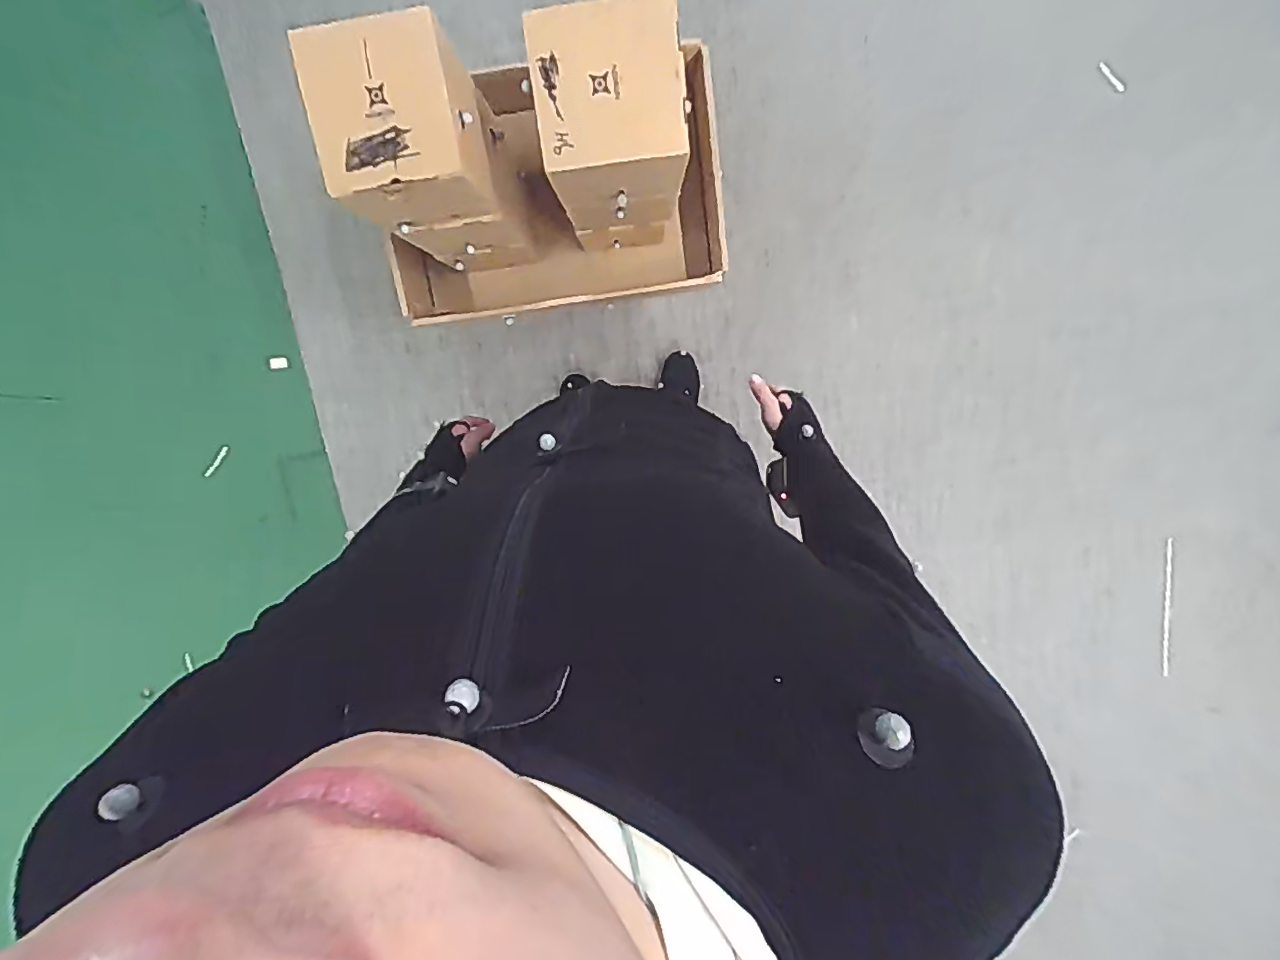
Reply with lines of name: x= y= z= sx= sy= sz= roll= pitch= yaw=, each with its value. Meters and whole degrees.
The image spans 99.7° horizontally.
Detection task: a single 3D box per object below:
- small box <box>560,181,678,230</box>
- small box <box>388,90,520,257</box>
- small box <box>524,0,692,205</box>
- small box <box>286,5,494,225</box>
small box: x=-0.038 y=-0.504 z=0.850 sx=0.179 sy=0.176 sz=0.168 roll=-6 pitch=104 yaw=0
small box: x=-0.296 y=-0.469 z=0.851 sx=0.168 sy=0.176 sz=0.179 roll=-7 pitch=102 yaw=1
small box: x=-0.037 y=-0.466 z=0.690 sx=0.179 sy=0.176 sz=0.168 roll=-7 pitch=104 yaw=0
small box: x=-0.298 y=-0.441 z=0.688 sx=0.168 sy=0.176 sz=0.179 roll=-9 pitch=101 yaw=1
